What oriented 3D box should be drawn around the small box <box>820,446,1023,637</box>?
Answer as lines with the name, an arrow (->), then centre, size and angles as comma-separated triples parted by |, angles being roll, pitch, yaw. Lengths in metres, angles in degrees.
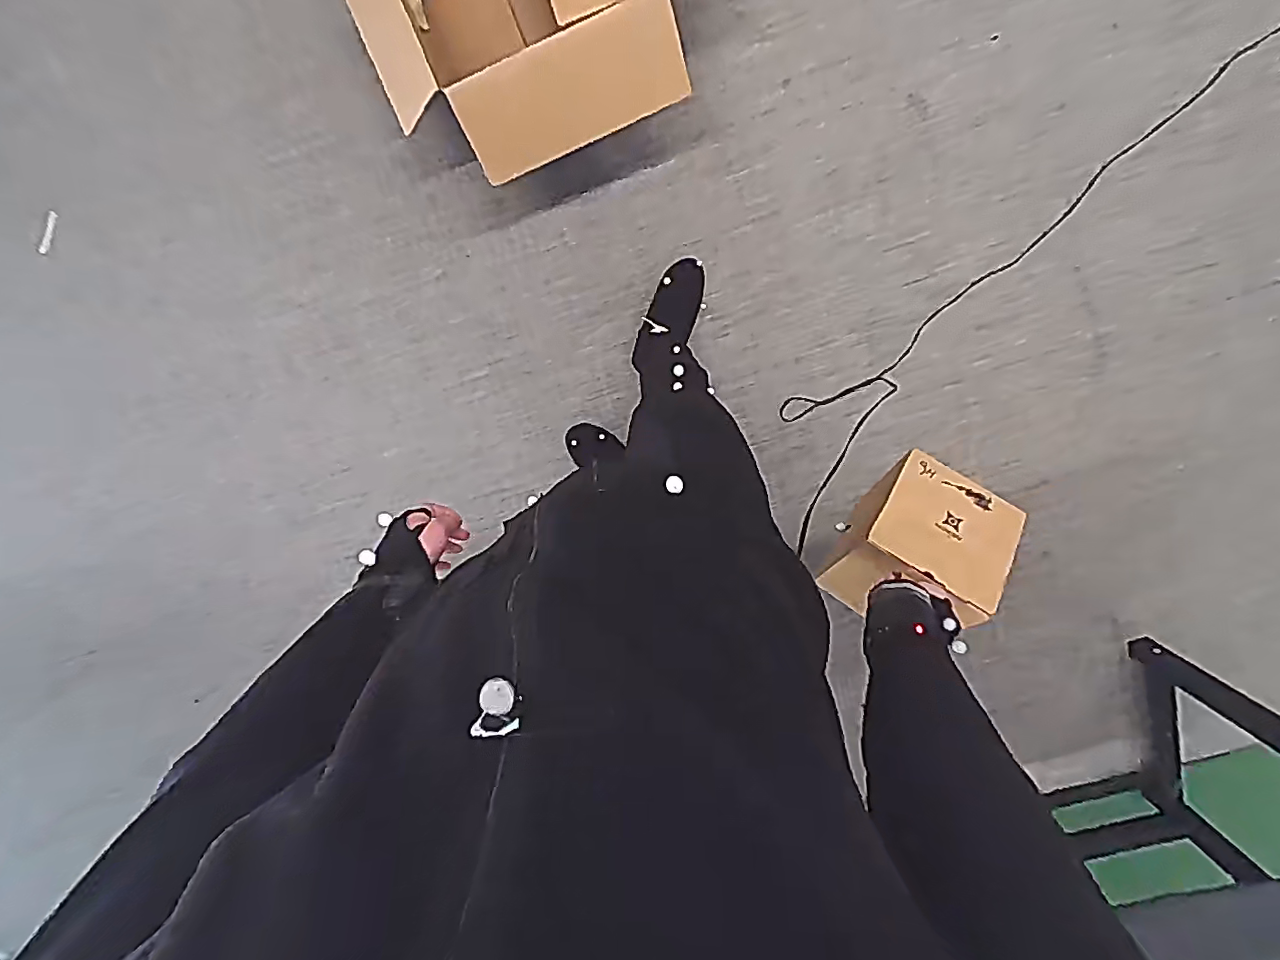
small box -> 0.380, 0.093, 0.759 | 0.168, 0.176, 0.179 | 36, 62, 10
